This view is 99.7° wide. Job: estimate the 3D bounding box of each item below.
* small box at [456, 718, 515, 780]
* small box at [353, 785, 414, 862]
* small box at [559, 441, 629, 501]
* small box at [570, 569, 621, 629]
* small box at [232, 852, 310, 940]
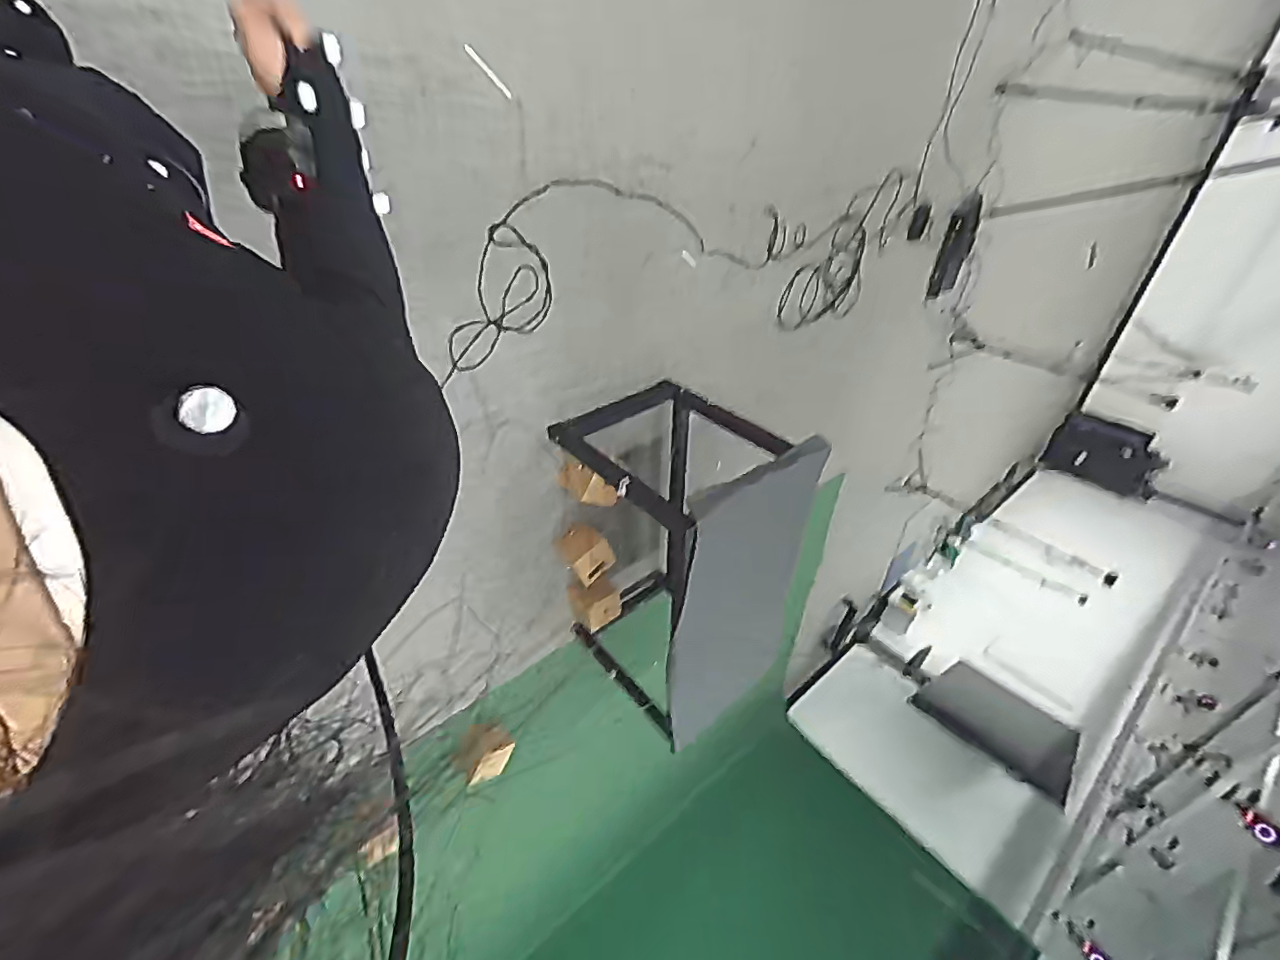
[{"bbox_3d":[-0.702,1.202,2.438,0.168,0.176,0.179,12,108,-50],"label":"small box"},{"bbox_3d":[-1.054,1.401,2.219,0.179,0.176,0.168,-18,128,-36],"label":"small box"},{"bbox_3d":[-0.180,-0.035,2.060,0.179,0.176,0.168,9,110,-50],"label":"small box"},{"bbox_3d":[-0.206,0.529,2.448,0.168,0.176,0.179,-27,135,-29],"label":"small box"},{"bbox_3d":[-1.359,1.517,1.988,0.179,0.176,0.168,23,100,-50],"label":"small box"}]
